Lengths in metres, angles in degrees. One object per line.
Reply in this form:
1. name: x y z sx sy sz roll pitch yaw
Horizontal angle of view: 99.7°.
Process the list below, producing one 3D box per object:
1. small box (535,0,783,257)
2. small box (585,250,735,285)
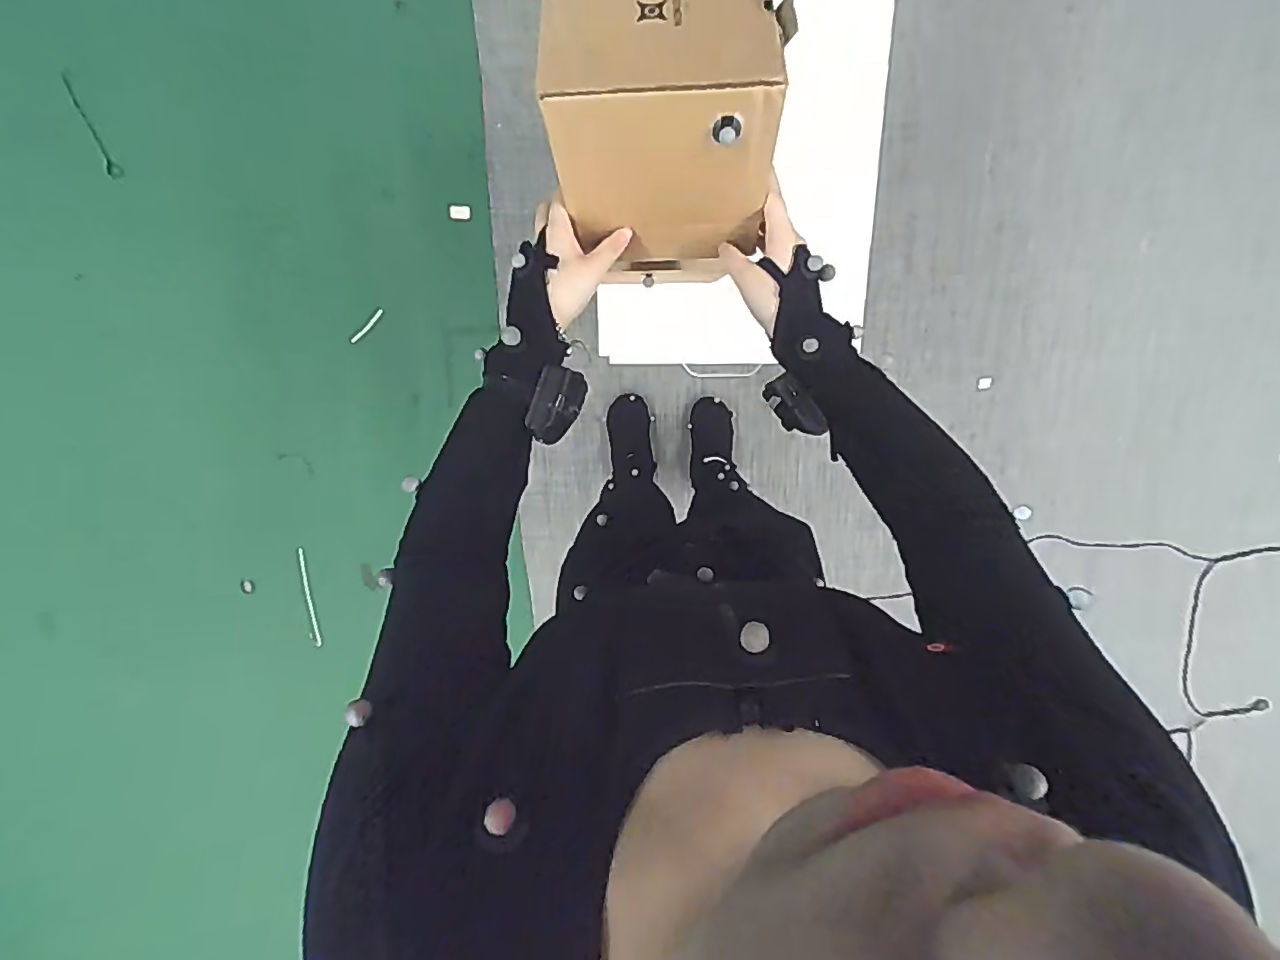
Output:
1. small box: 0.016 -0.317 0.475 0.179 0.176 0.168 -1 70 2
2. small box: 0.024 -0.344 0.689 0.179 0.176 0.168 -1 105 0
